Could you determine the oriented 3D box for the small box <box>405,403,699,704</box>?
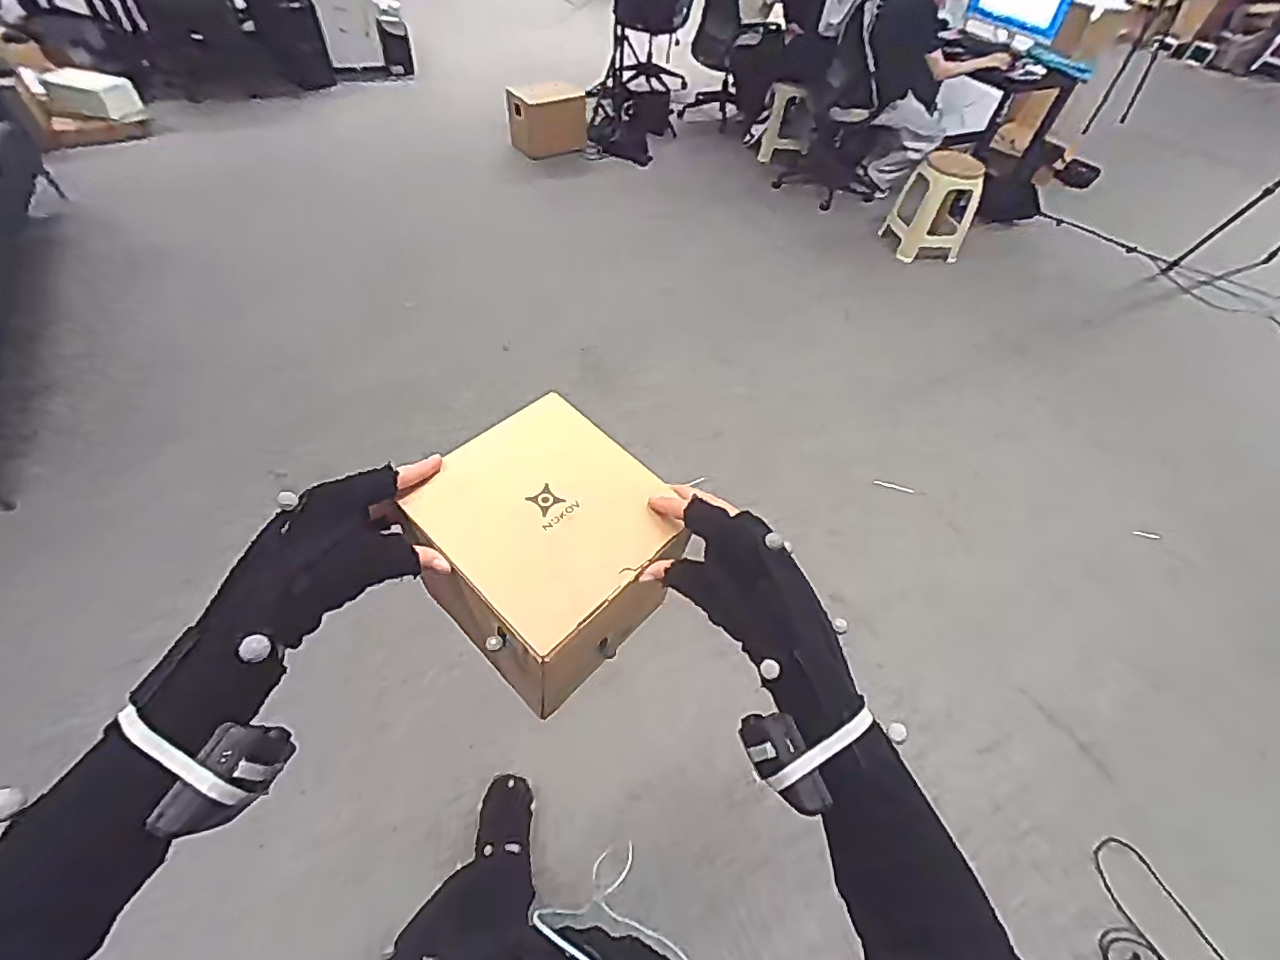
[{"bbox_3d":[-0.079,0.069,0.491,0.179,0.176,0.168,41,57,18],"label":"small box"}]
